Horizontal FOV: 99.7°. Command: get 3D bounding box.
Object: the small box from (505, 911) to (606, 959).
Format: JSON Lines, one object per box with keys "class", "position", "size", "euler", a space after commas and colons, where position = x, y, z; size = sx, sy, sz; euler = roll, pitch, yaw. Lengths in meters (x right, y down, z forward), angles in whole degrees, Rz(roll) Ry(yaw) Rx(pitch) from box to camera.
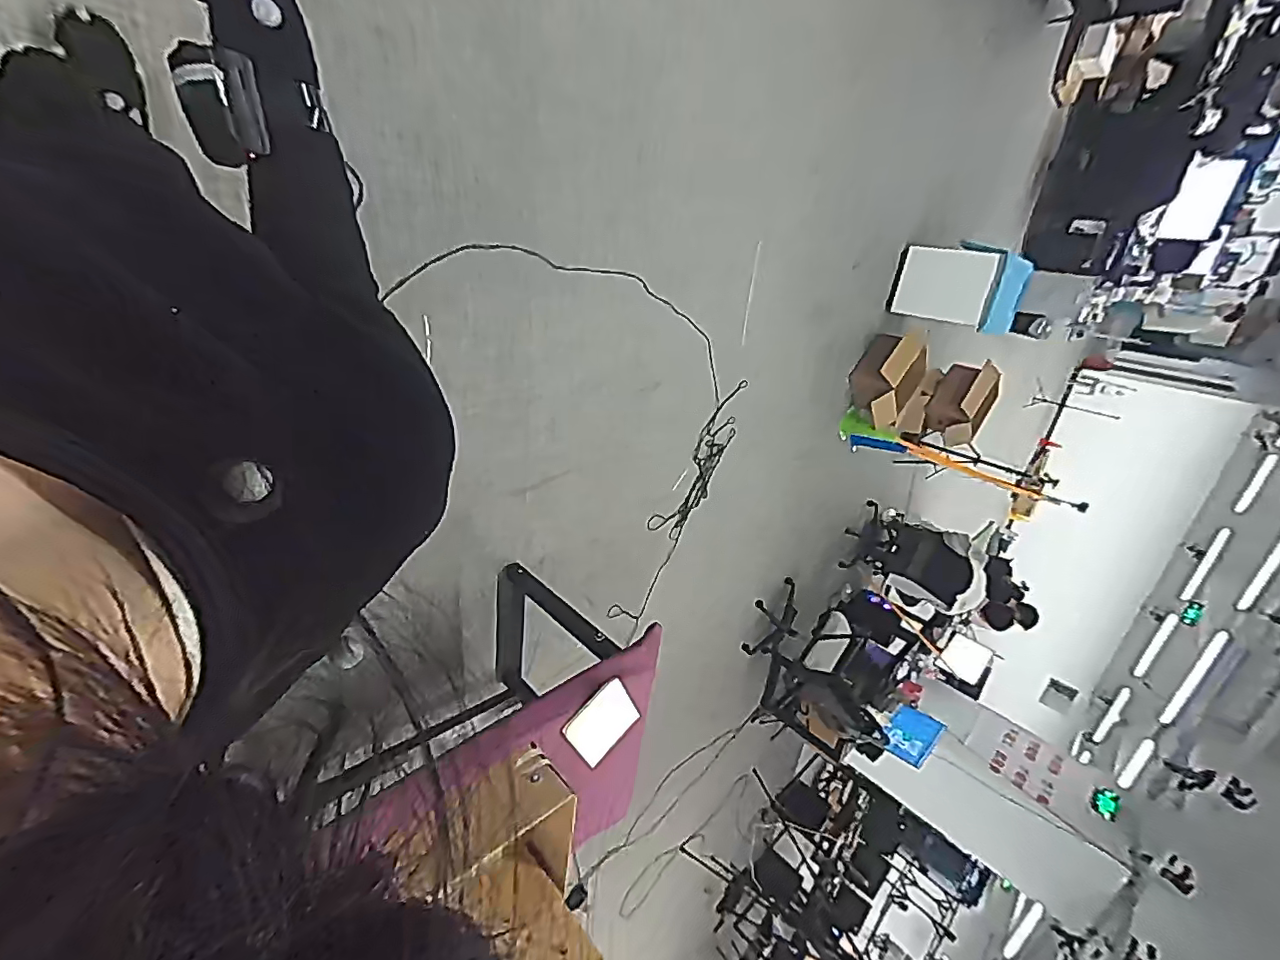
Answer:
{"class": "small box", "position": [-0.192, 1.106, 1.185], "size": [0.168, 0.176, 0.179], "euler": [-13, 118, -44]}
